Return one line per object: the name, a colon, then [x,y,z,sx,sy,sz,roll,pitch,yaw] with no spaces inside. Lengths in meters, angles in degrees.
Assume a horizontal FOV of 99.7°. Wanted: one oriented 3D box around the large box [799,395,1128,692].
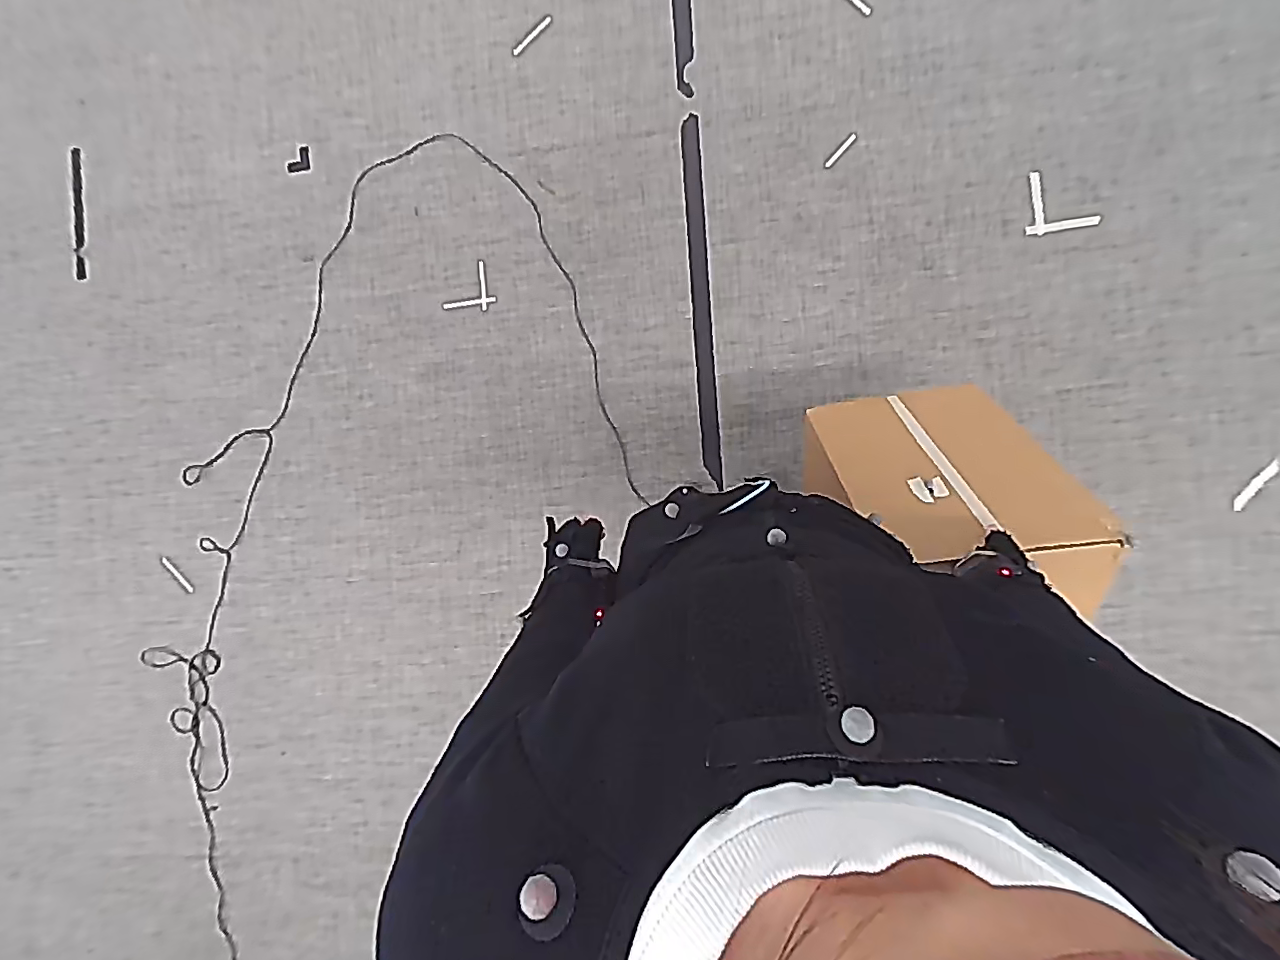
large box: [0.489,0.098,0.947,0.320,0.408,0.320,-8,129,4]
